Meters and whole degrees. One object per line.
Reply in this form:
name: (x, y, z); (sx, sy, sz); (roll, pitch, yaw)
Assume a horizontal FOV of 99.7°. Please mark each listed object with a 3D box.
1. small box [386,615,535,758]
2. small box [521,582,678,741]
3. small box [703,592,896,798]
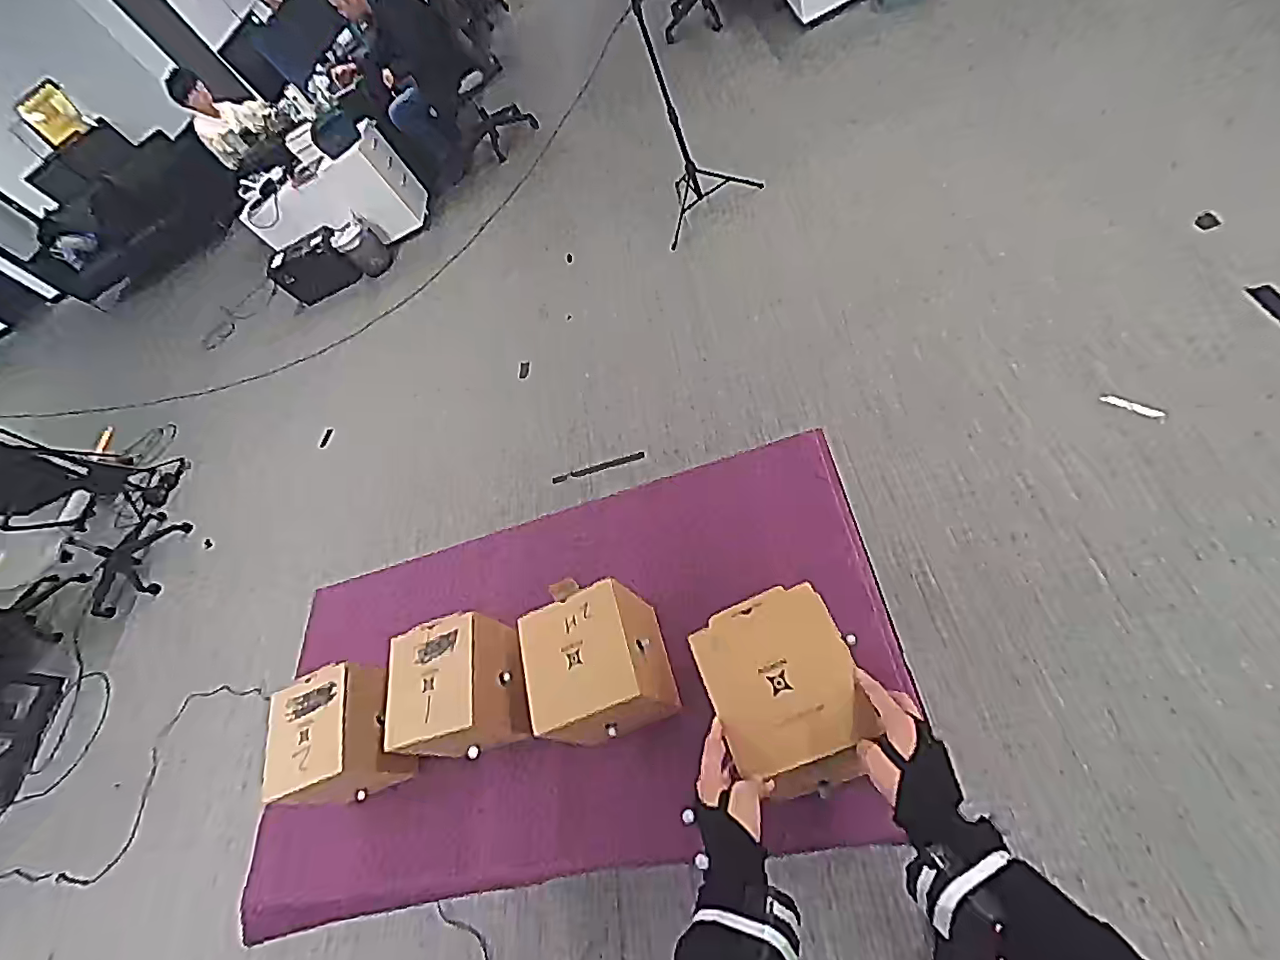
small box: (-0.291, 0.351, 0.906); (0.168, 0.176, 0.179); (-21, 55, 14)
small box: (-0.058, 0.286, 0.828); (0.168, 0.176, 0.179); (-26, 54, 11)
small box: (0.203, 0.278, 0.691); (0.168, 0.176, 0.179); (-27, 46, 12)
